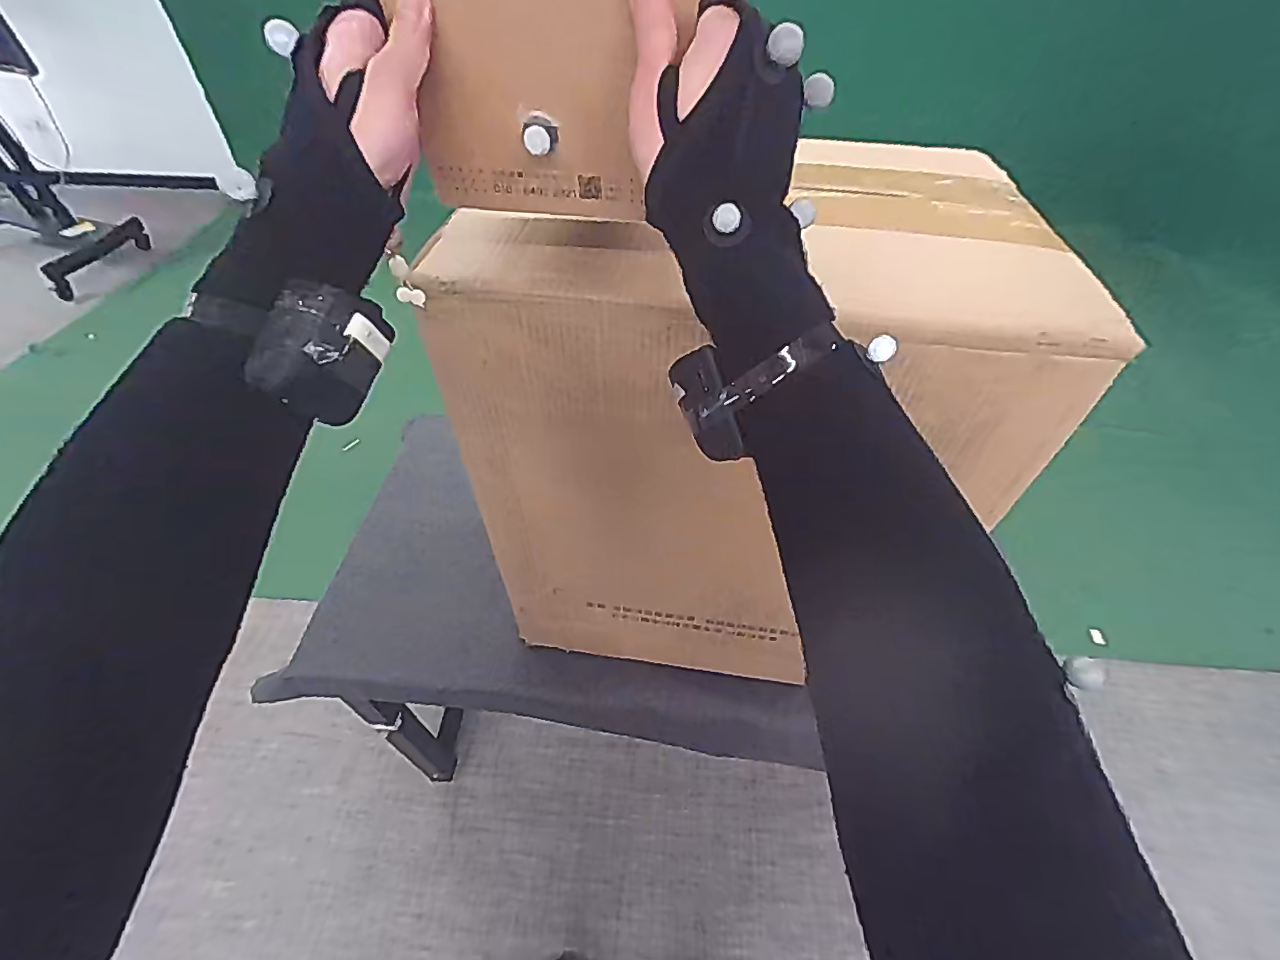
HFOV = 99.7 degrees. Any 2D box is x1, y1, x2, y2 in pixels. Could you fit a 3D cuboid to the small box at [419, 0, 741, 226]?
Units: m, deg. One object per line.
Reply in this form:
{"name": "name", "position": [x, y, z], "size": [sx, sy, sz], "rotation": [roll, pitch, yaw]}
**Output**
{"name": "small box", "position": [-0.024, -0.285, 0.323], "size": [0.168, 0.176, 0.179], "rotation": [8, 57, 5]}
